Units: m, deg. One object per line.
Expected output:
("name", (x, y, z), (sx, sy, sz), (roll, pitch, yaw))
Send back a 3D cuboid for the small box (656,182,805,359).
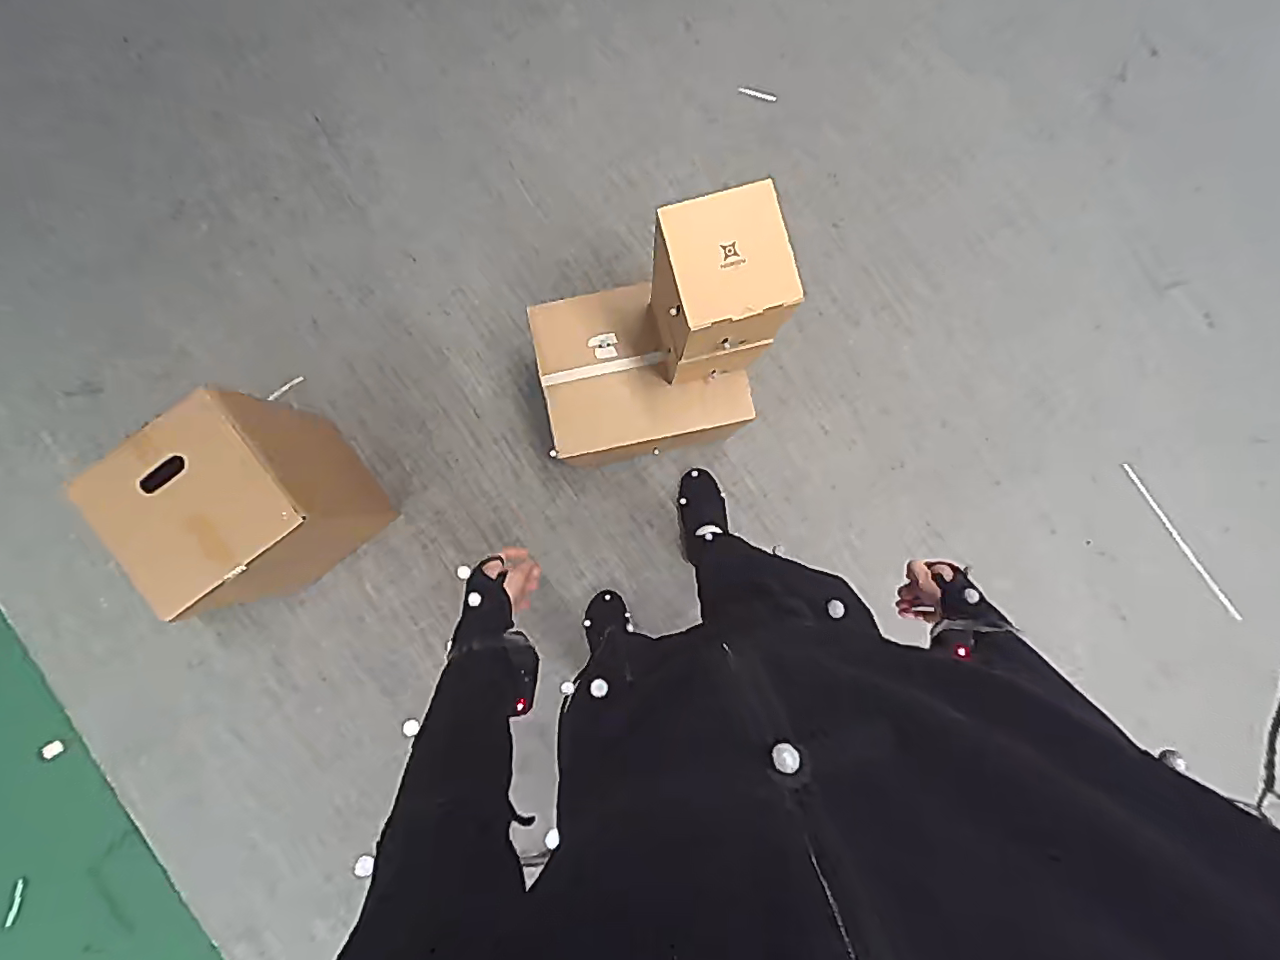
("small box", (0.124, -0.303, 0.815), (0.168, 0.176, 0.179), (-15, 88, -1))
